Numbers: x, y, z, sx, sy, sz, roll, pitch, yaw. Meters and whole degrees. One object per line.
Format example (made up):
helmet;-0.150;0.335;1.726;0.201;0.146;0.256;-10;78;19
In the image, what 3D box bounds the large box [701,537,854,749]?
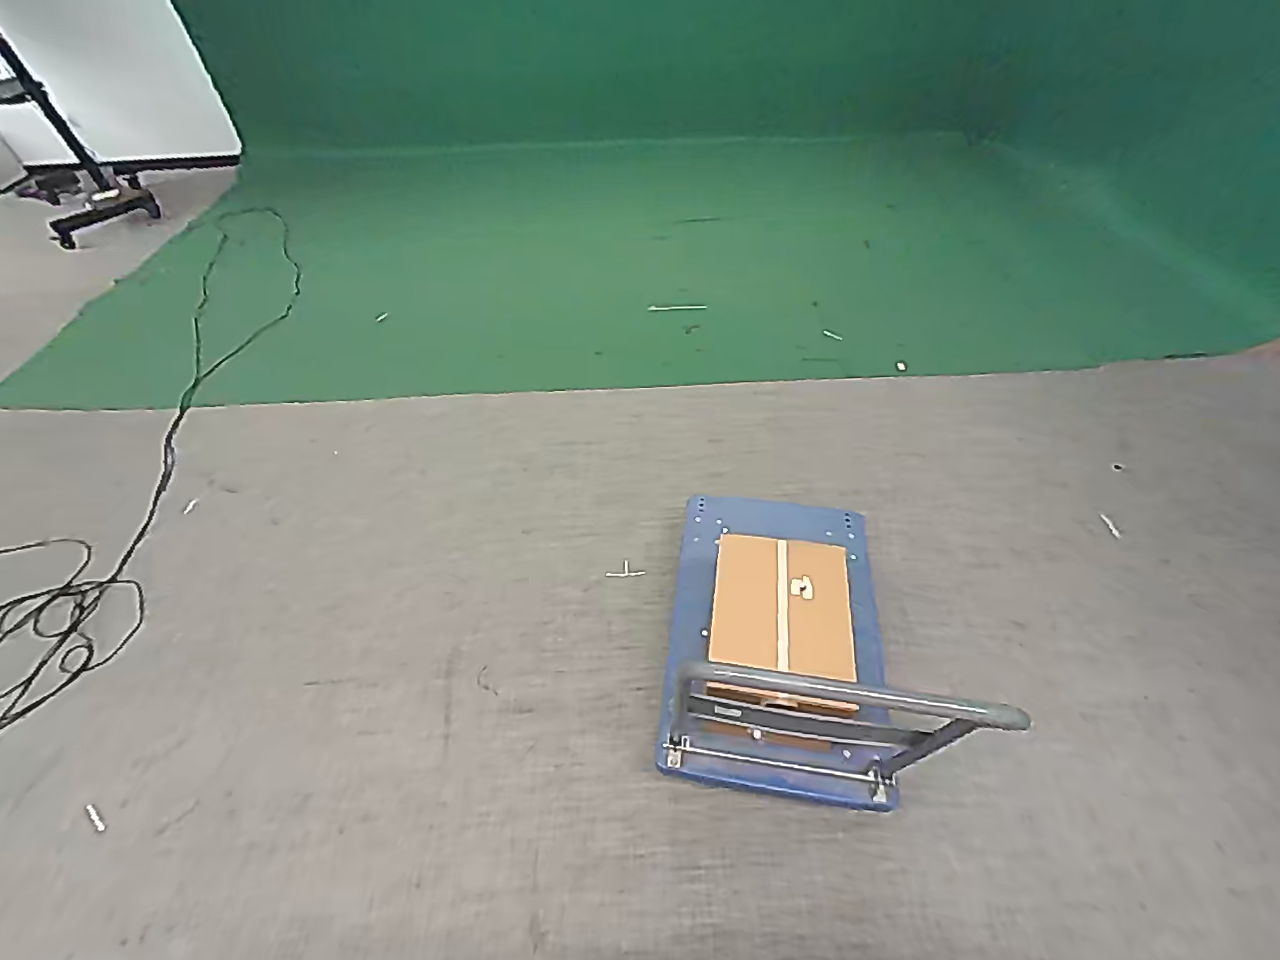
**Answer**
large box;0.323;0.406;1.362;0.320;0.320;0.408;6;48;7
